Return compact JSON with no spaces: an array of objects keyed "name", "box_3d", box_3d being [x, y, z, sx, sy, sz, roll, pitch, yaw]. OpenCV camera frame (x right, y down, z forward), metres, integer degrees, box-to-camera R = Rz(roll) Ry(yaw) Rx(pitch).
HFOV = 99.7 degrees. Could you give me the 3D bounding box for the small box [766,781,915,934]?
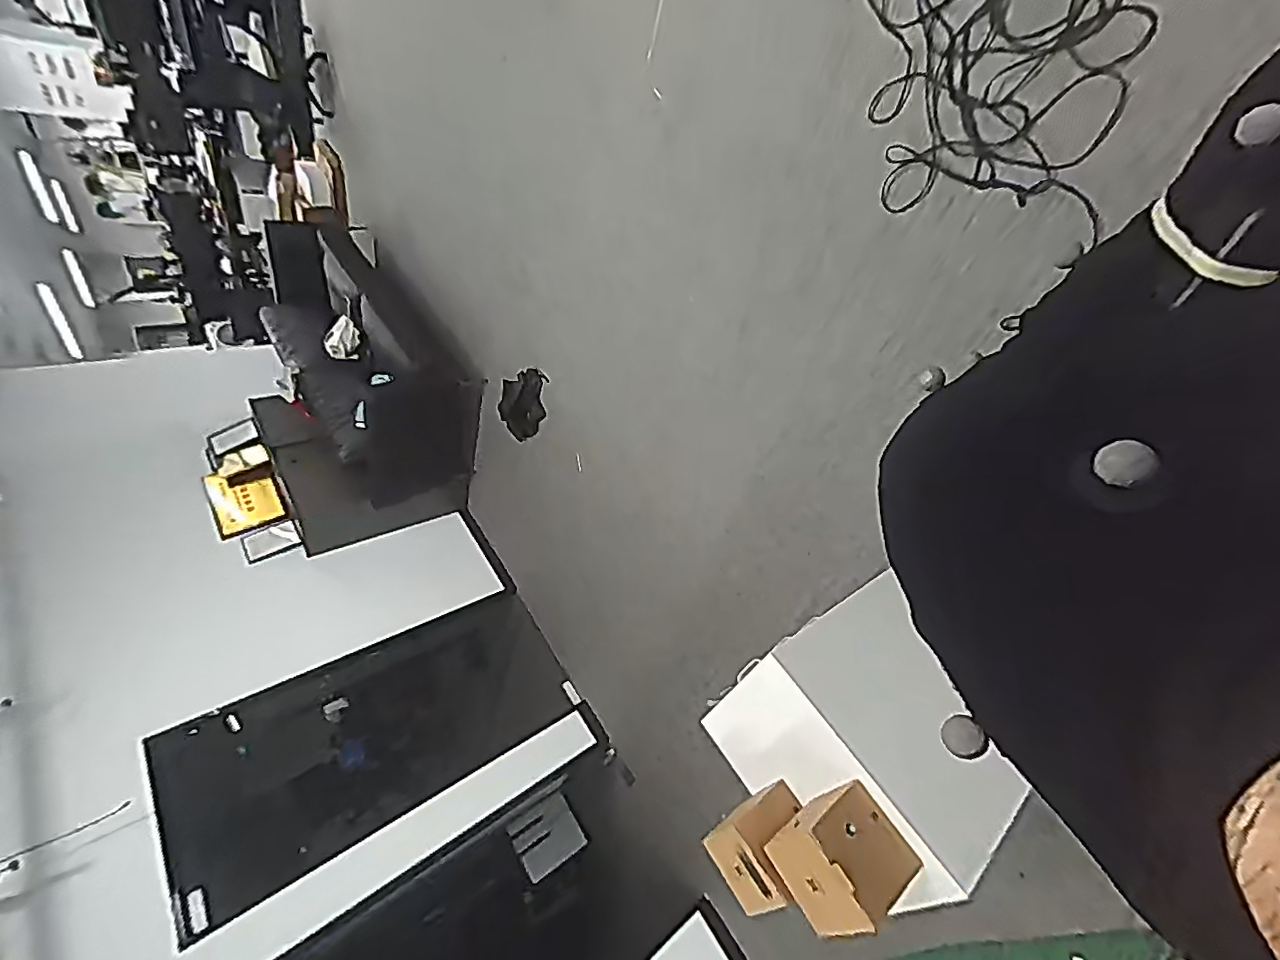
[{"name":"small box","box_3d":[0.380,0.703,1.018,0.168,0.176,0.179,53,142,26]}]
